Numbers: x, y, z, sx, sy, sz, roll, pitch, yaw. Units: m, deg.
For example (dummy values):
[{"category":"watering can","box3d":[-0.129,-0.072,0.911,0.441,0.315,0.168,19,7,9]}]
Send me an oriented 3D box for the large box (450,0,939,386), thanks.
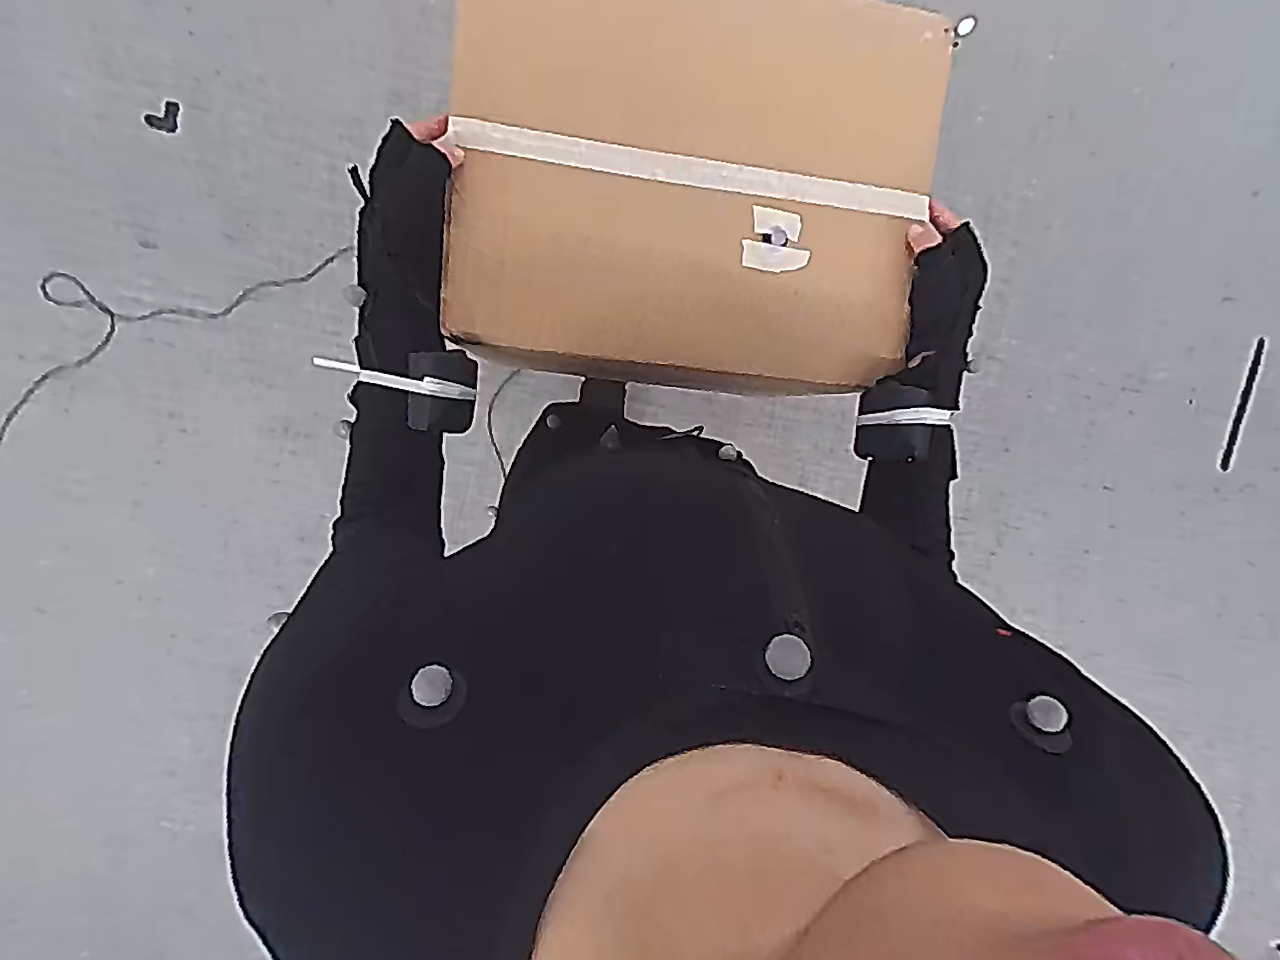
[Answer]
[{"category":"large box","box3d":[0.028,-0.280,0.600,0.408,0.320,0.320,5,99,-9]}]
